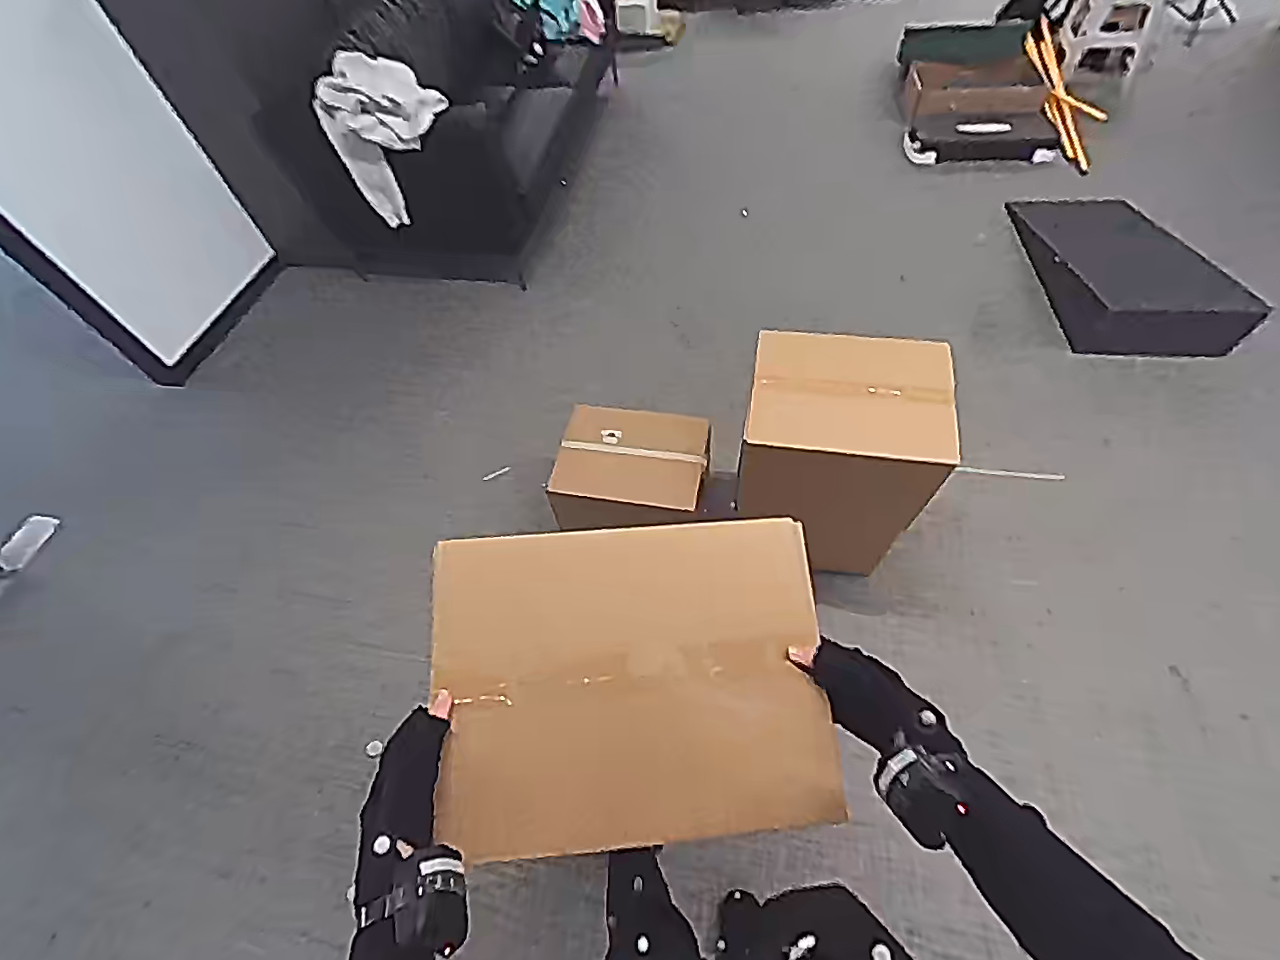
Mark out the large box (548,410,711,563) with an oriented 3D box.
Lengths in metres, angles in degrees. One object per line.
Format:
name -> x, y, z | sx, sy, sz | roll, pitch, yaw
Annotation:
large box -> -0.005, 0.023, 1.589 | 0.408, 0.320, 0.320 | 7, 56, 12
